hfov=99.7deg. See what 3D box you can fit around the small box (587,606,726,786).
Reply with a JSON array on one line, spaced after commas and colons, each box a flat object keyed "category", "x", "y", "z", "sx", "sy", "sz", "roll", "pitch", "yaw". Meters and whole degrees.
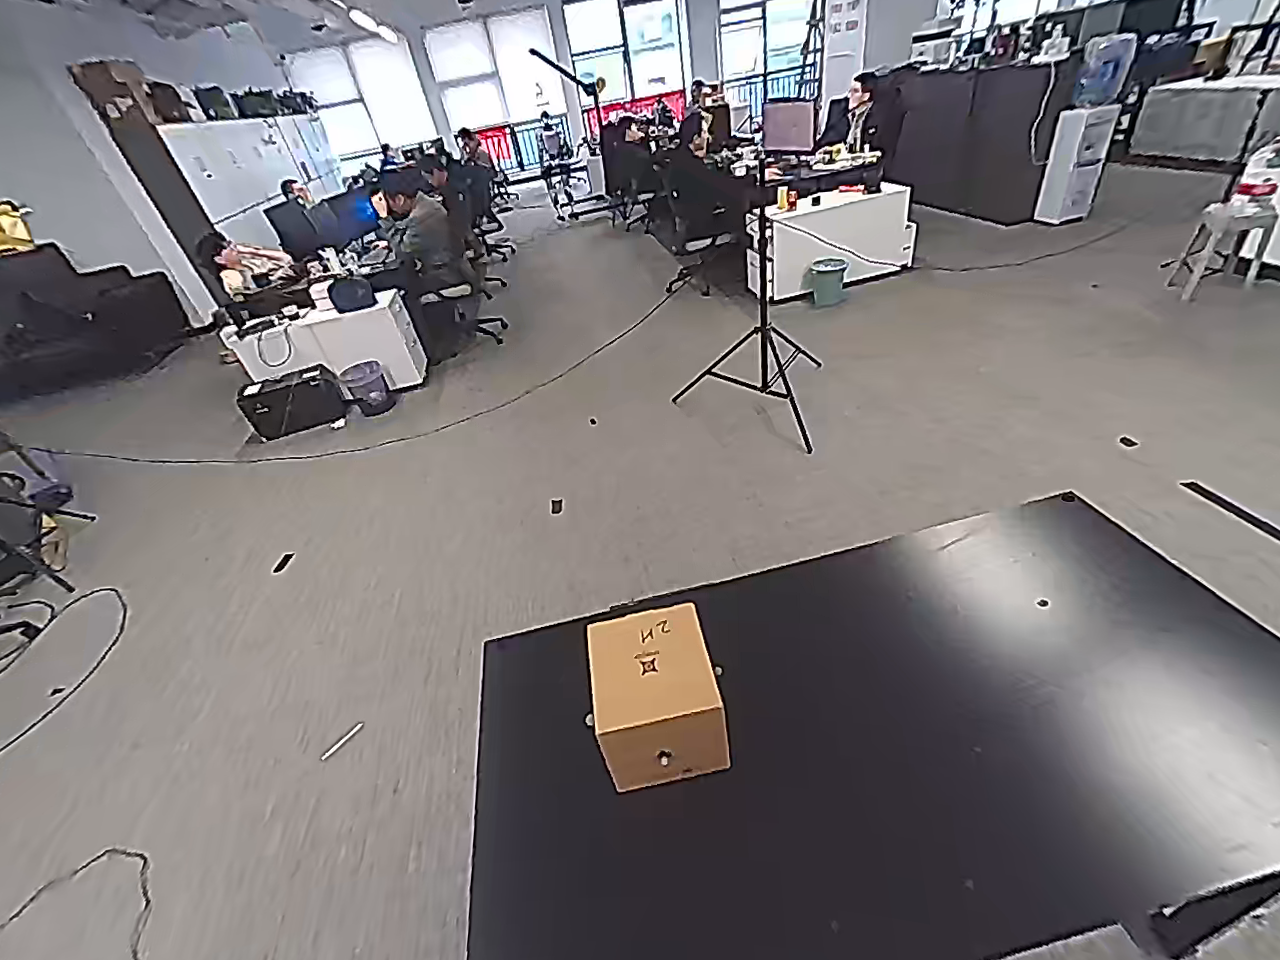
[{"category": "small box", "x": 0.023, "y": 0.321, "z": 0.794, "sx": 0.168, "sy": 0.176, "sz": 0.179, "roll": -12, "pitch": 35, "yaw": -1}]
